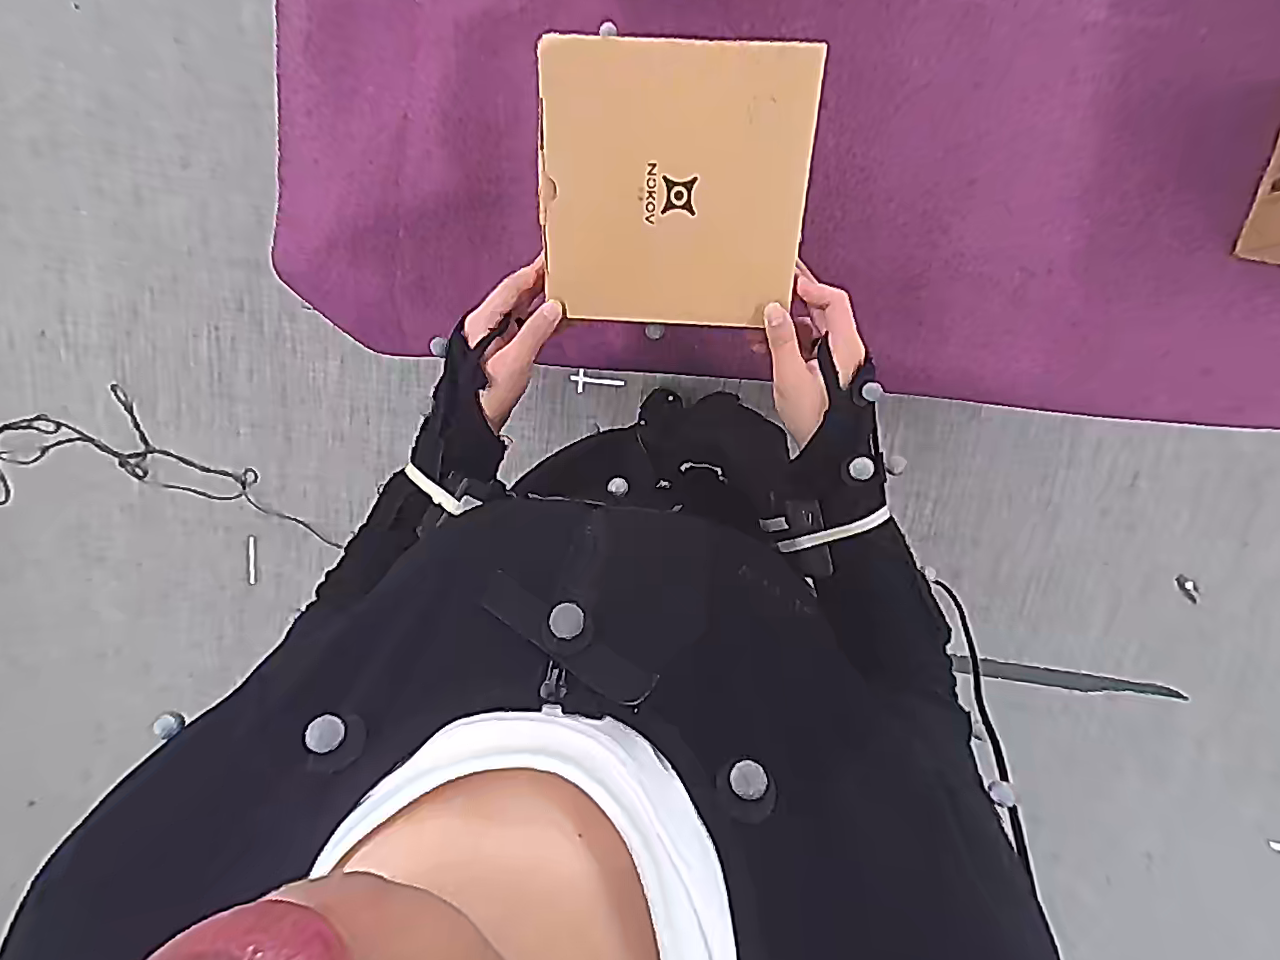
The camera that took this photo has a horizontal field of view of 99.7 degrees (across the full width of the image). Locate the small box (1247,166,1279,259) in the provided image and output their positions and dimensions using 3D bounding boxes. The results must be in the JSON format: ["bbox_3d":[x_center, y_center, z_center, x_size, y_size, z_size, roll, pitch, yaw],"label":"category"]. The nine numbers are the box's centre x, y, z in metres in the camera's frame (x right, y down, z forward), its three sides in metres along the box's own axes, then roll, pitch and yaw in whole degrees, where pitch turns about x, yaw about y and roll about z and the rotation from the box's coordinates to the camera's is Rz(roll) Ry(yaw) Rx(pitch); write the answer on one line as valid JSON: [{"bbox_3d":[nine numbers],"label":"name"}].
[{"bbox_3d":[0.684,-0.271,0.439,0.179,0.176,0.168,12,100,2],"label":"small box"}]

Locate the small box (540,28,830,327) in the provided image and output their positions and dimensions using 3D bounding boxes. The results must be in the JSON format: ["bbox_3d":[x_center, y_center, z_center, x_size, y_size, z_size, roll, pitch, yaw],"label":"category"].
[{"bbox_3d":[0.027,-0.221,0.425,0.179,0.176,0.168,4,113,3],"label":"small box"}]
